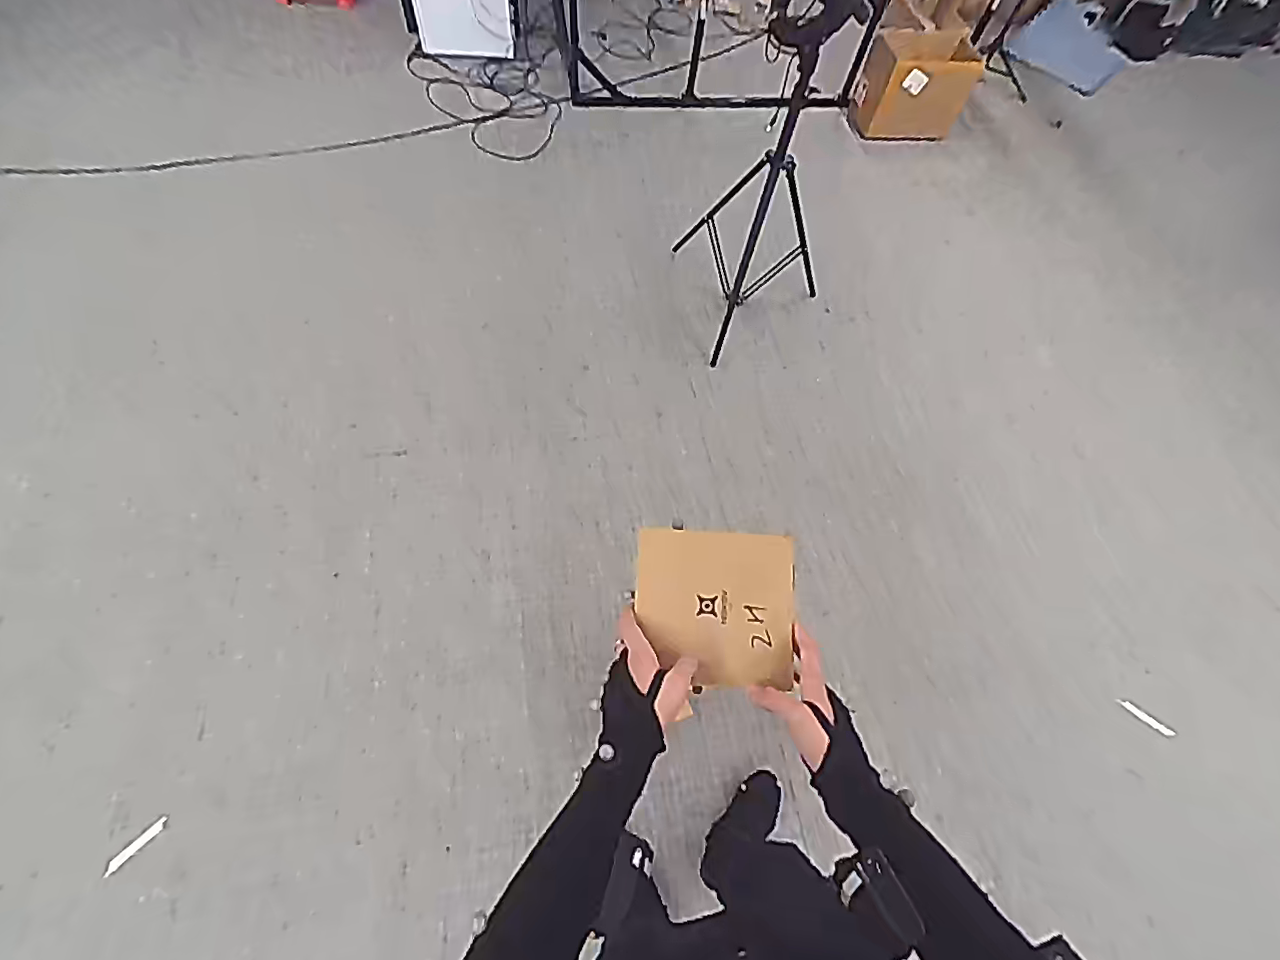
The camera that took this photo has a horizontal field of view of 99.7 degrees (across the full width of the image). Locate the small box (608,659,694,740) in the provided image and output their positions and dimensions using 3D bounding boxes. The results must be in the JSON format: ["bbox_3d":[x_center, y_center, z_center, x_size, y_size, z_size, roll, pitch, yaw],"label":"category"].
[{"bbox_3d":[0.020,0.544,1.373,0.168,0.176,0.179,-16,66,-12],"label":"small box"}]

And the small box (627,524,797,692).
[{"bbox_3d":[0.079,0.149,0.652,0.179,0.176,0.168,4,79,0],"label":"small box"}]

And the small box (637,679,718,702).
[{"bbox_3d":[0.075,0.412,1.263,0.168,0.176,0.179,-3,63,-6],"label":"small box"}]
